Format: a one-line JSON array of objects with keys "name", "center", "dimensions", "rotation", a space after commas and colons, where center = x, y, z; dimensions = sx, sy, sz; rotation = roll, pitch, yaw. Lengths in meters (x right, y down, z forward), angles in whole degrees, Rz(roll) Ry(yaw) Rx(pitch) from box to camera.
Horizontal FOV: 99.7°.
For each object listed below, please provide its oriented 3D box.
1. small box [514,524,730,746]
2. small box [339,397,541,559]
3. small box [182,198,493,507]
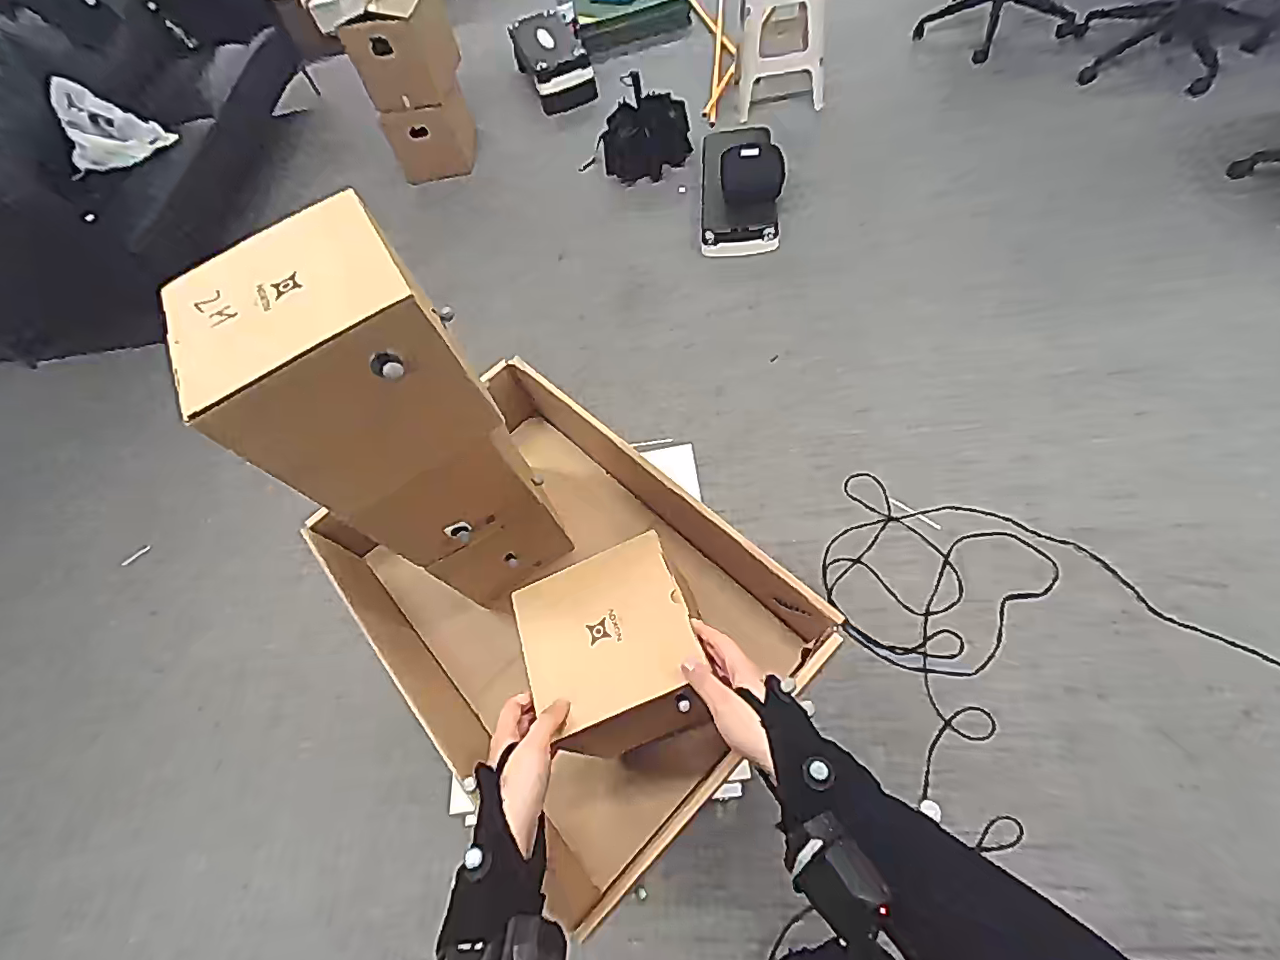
[{"name": "small box", "center": [-0.016, 0.184, 0.615], "dimensions": [0.179, 0.176, 0.168], "rotation": [-25, 55, 3]}, {"name": "small box", "center": [-0.242, -0.036, 0.642], "dimensions": [0.168, 0.176, 0.179], "rotation": [-30, 61, -4]}, {"name": "small box", "center": [-0.256, -0.107, 0.493], "dimensions": [0.179, 0.176, 0.168], "rotation": [-33, 60, -5]}]
